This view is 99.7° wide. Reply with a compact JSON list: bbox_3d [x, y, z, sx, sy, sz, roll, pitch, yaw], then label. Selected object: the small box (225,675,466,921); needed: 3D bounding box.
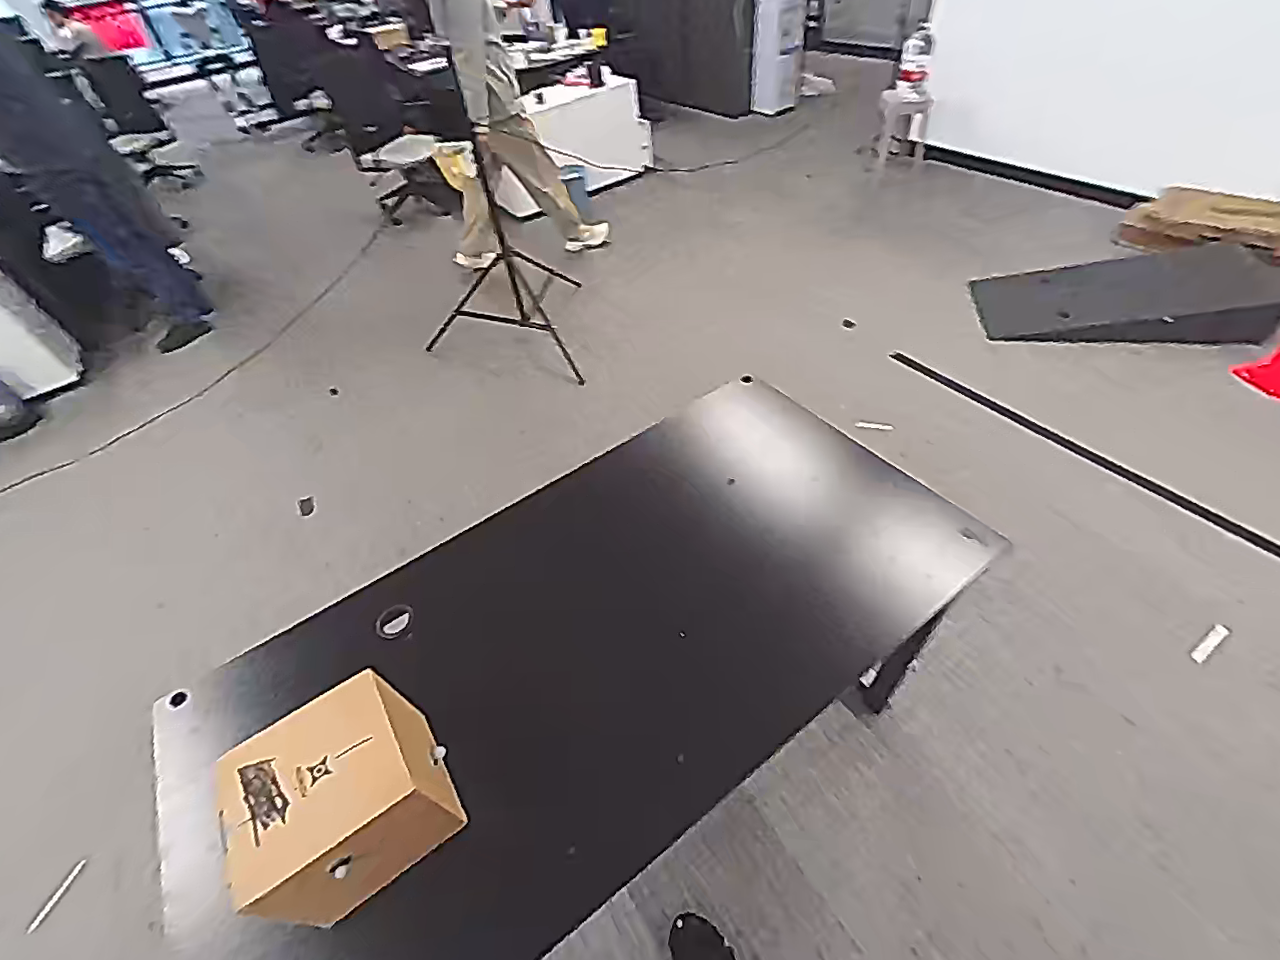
[{"bbox_3d":[-0.337,0.375,0.638,0.179,0.176,0.168,-31,51,-20],"label":"small box"}]
